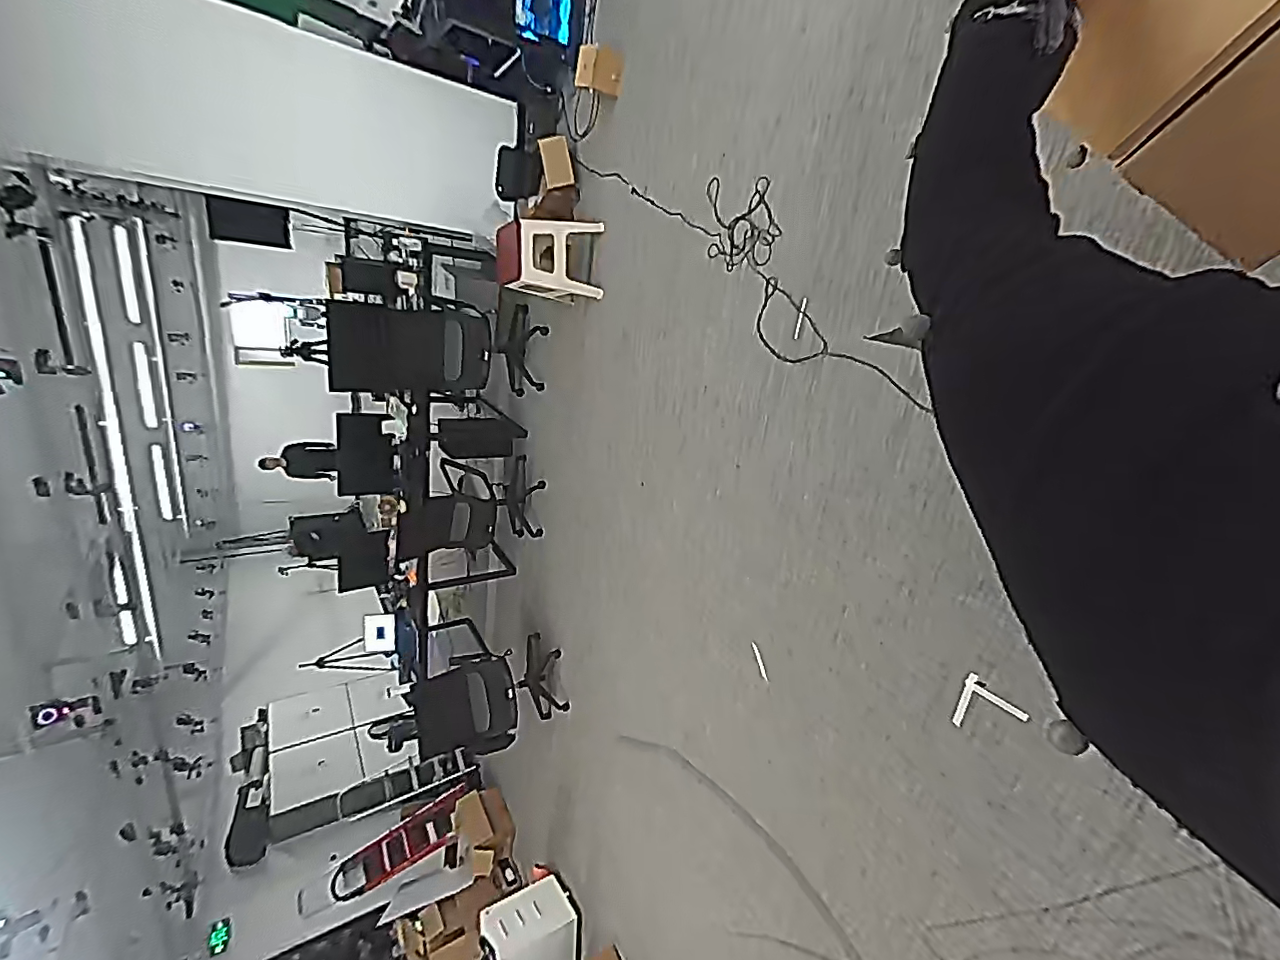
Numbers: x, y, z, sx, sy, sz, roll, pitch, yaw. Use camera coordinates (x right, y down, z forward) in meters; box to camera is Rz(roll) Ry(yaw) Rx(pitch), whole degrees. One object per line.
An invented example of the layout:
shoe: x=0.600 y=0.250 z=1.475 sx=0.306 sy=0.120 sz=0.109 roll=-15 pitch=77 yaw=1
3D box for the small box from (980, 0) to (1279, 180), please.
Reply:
small box: x=0.470 y=-0.406 z=0.497 sx=0.179 sy=0.176 sz=0.168 roll=59 pitch=137 yaw=19
